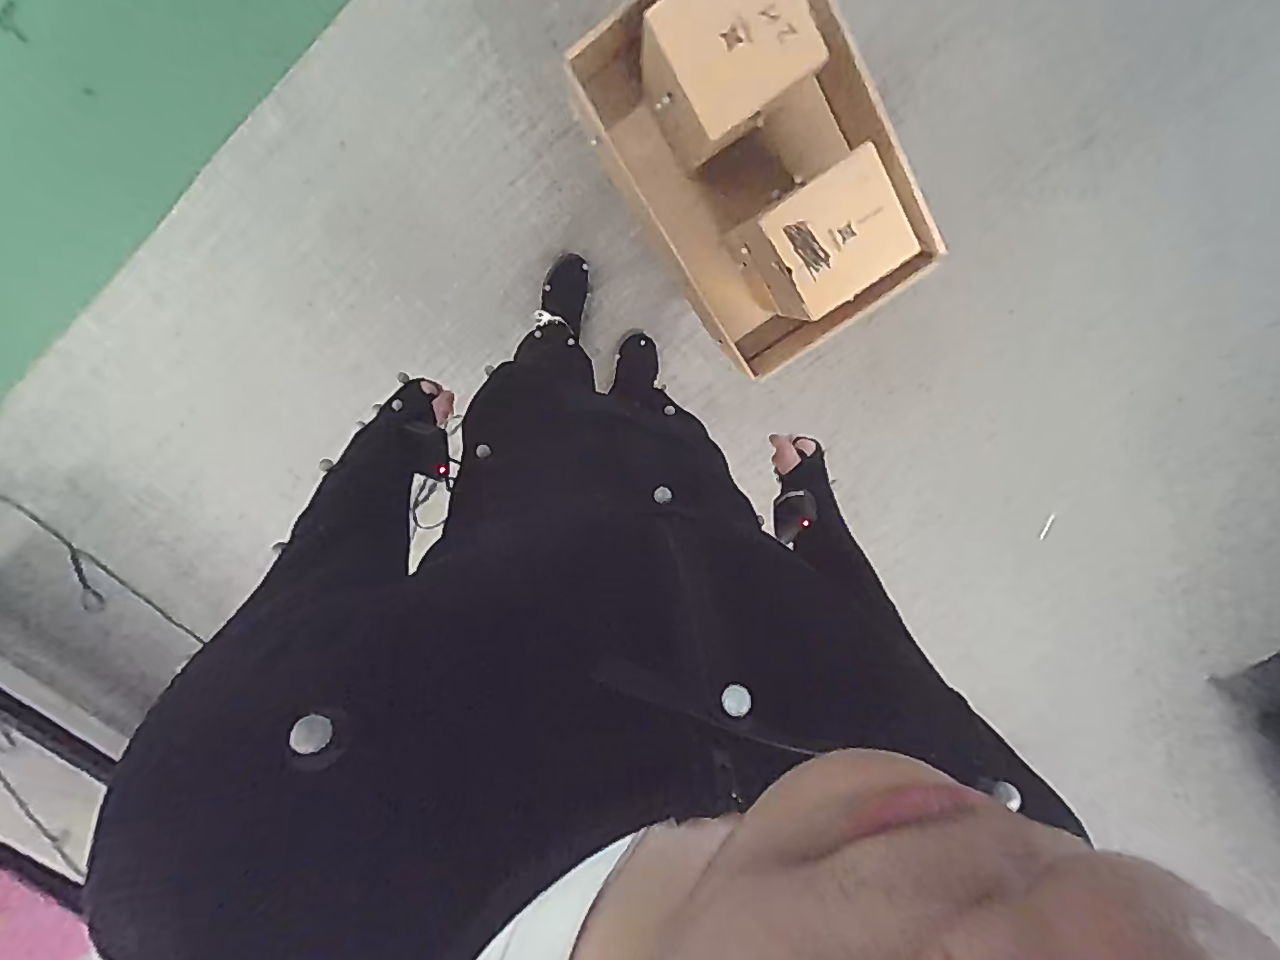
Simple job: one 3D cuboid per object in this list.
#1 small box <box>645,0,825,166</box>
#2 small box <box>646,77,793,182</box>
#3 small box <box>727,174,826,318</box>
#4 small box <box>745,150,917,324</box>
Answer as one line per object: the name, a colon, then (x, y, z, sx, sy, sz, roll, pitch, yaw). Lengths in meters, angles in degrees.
small box: (0.121, -0.573, 0.751, 0.179, 0.176, 0.168, -31, 108, 10)
small box: (0.122, -0.635, 0.903, 0.179, 0.176, 0.168, -30, 106, 9)
small box: (0.272, -0.415, 0.987, 0.179, 0.176, 0.168, -32, 107, 9)
small box: (0.277, -0.360, 0.832, 0.179, 0.176, 0.168, -33, 107, 9)
